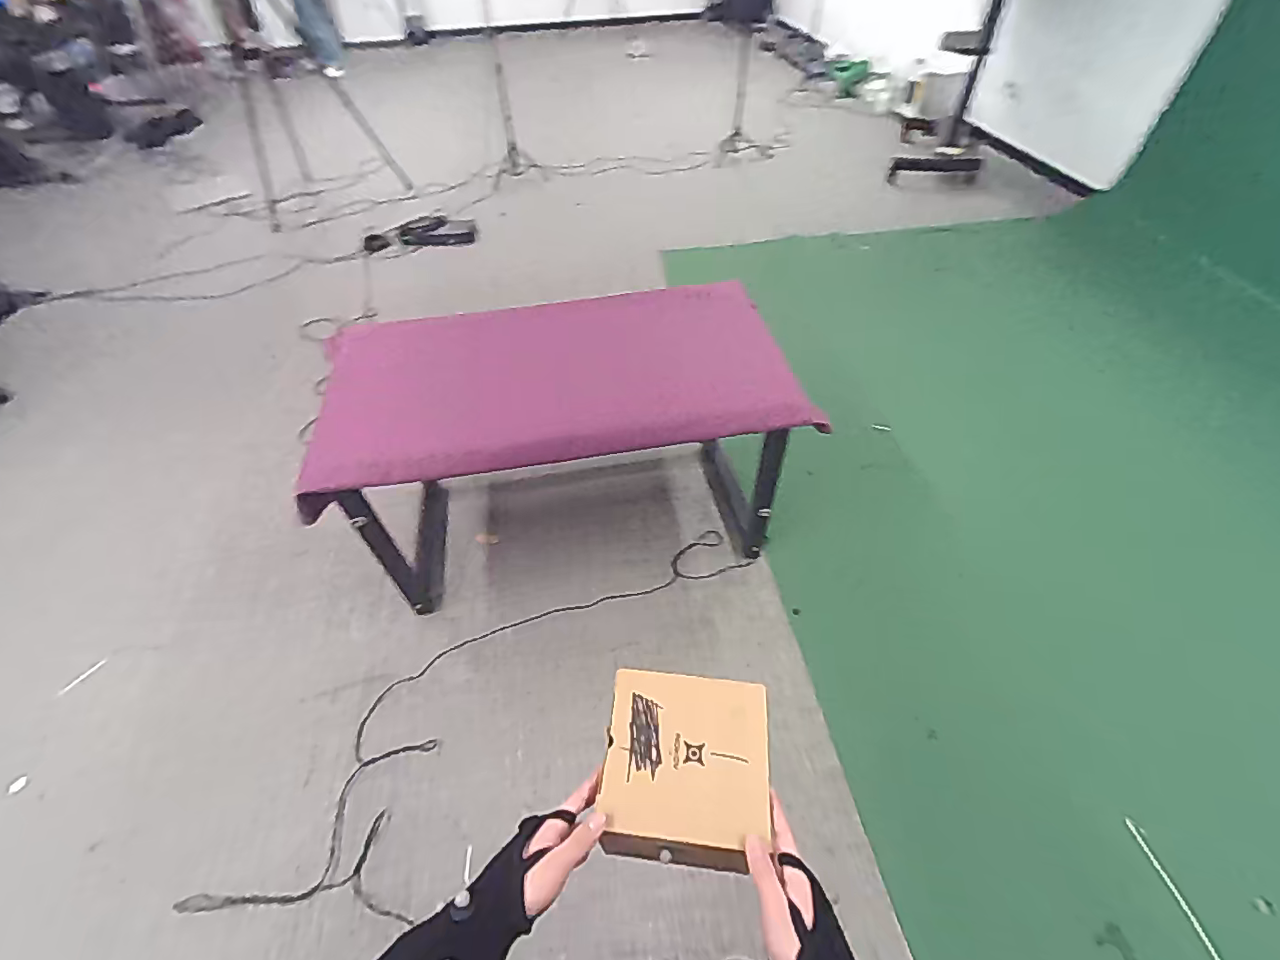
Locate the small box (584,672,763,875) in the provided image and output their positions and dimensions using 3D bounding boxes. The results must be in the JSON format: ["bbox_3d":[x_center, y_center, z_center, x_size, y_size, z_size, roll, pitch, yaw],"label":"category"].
[{"bbox_3d":[0.041,0.343,0.629,0.179,0.176,0.168,4,49,4],"label":"small box"}]
